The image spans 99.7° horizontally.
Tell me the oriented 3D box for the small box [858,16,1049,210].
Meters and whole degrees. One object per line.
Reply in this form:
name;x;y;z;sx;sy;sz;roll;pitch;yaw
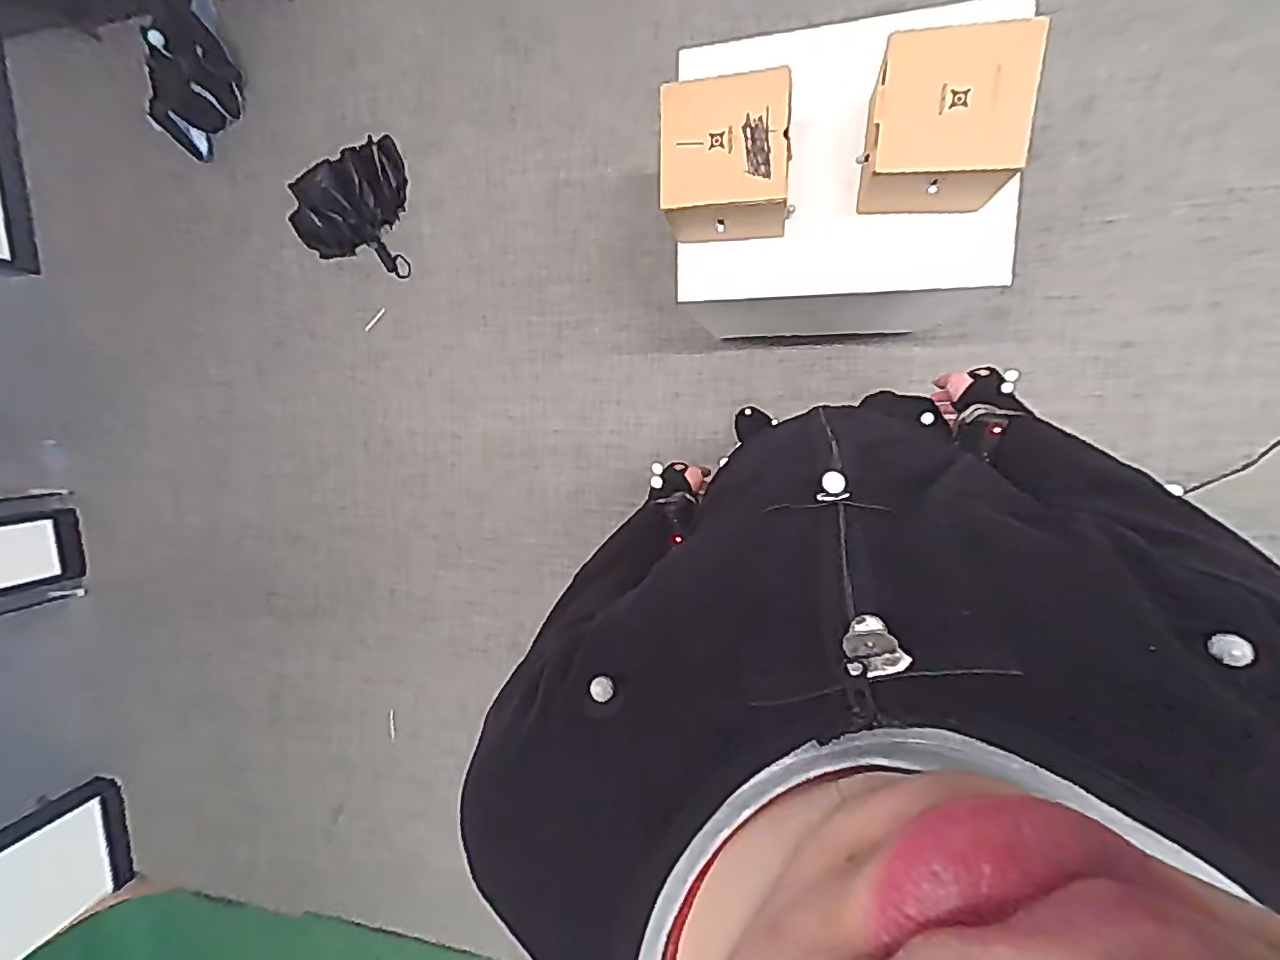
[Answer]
small box;0.405;-0.479;0.736;0.179;0.176;0.168;6;101;13

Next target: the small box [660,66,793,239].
small box;0.132;-0.471;0.806;0.179;0.176;0.168;3;98;15
